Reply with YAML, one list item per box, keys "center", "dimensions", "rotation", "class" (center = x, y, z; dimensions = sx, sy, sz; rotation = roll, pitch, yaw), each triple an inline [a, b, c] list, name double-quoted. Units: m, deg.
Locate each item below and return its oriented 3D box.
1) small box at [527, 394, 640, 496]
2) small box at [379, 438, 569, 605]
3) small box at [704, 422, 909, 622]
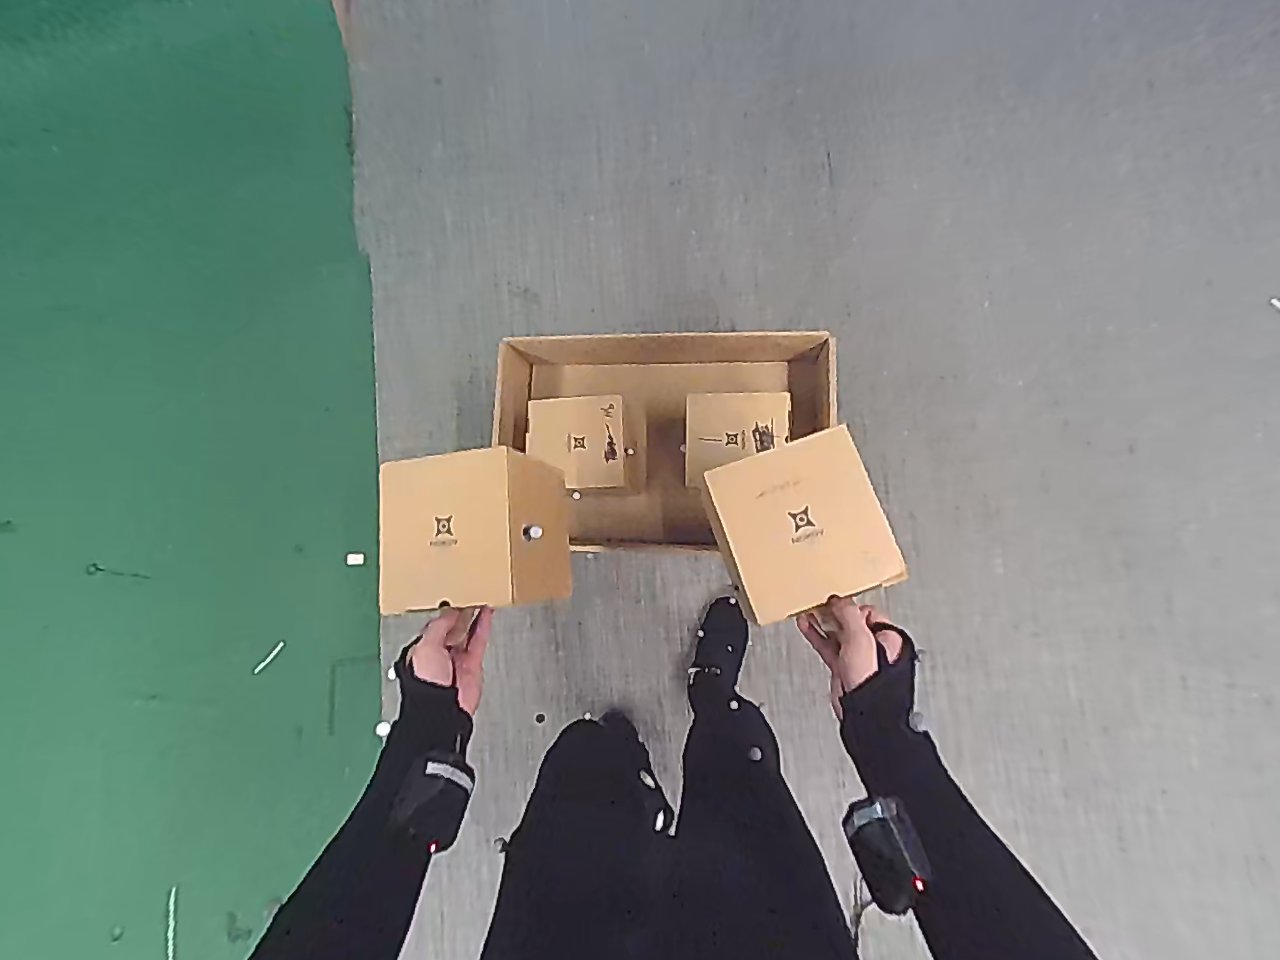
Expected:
- center: [-0.101, -0.058, 1.018]
  dimensions: [0.179, 0.176, 0.168]
  rotation: [-1, 83, 9]
  class: "small box"
- center: [-0.195, 0.058, 0.671]
  dimensions: [0.168, 0.176, 0.179]
  rotation: [-7, 81, 13]
  class: "small box"
- center: [0.180, 0.054, 0.642]
  dimensions: [0.168, 0.176, 0.179]
  rotation: [-18, 79, 2]
  class: "small box"
